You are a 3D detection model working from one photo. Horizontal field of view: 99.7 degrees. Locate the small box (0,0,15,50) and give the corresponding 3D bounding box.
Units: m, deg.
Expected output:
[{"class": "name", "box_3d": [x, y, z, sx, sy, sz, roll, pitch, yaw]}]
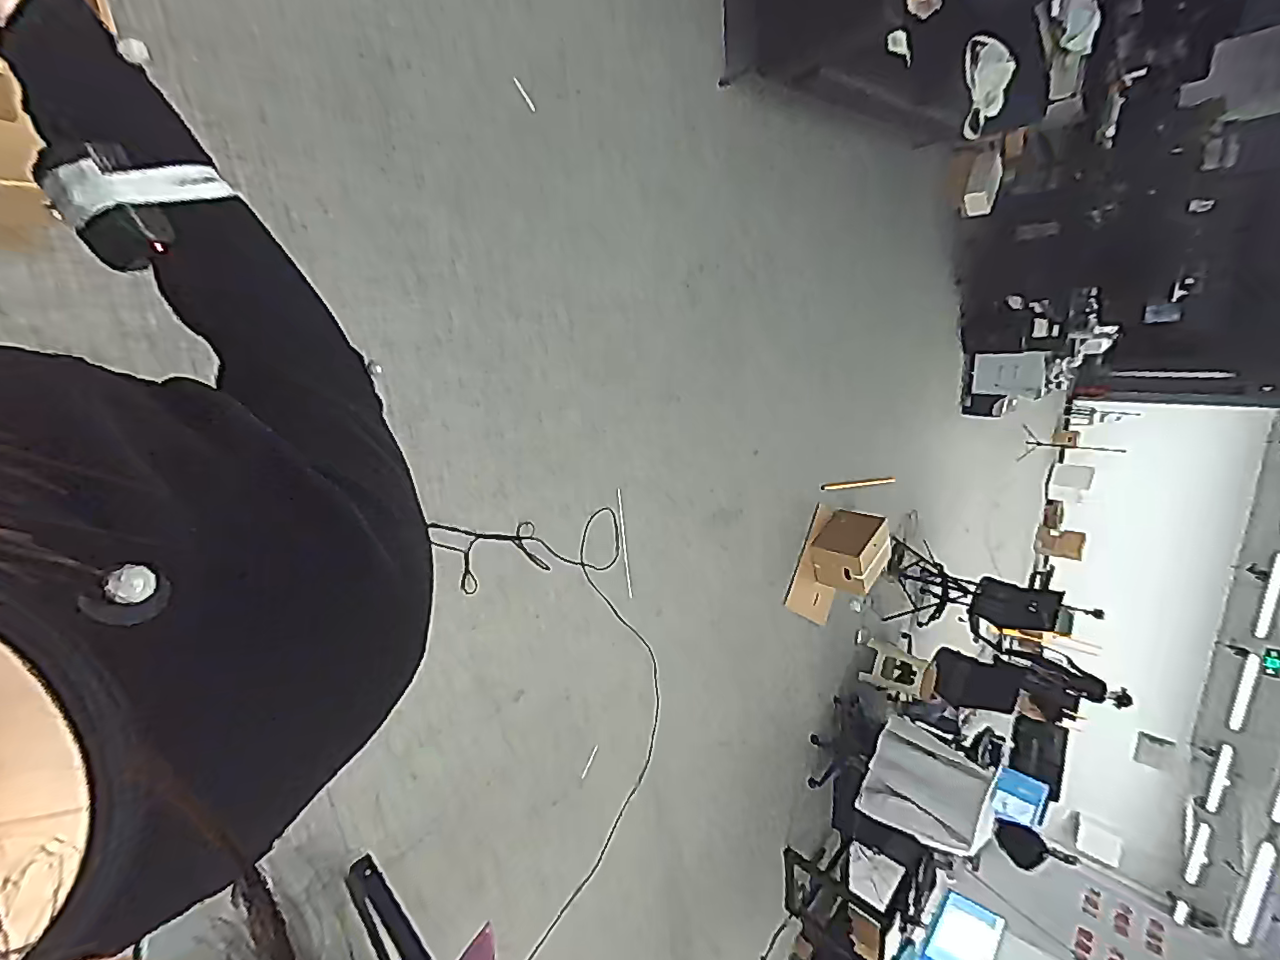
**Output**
[{"class": "small box", "box_3d": [-0.637, -0.484, 0.419, 0.168, 0.176, 0.179, -14, 108, -42]}]
